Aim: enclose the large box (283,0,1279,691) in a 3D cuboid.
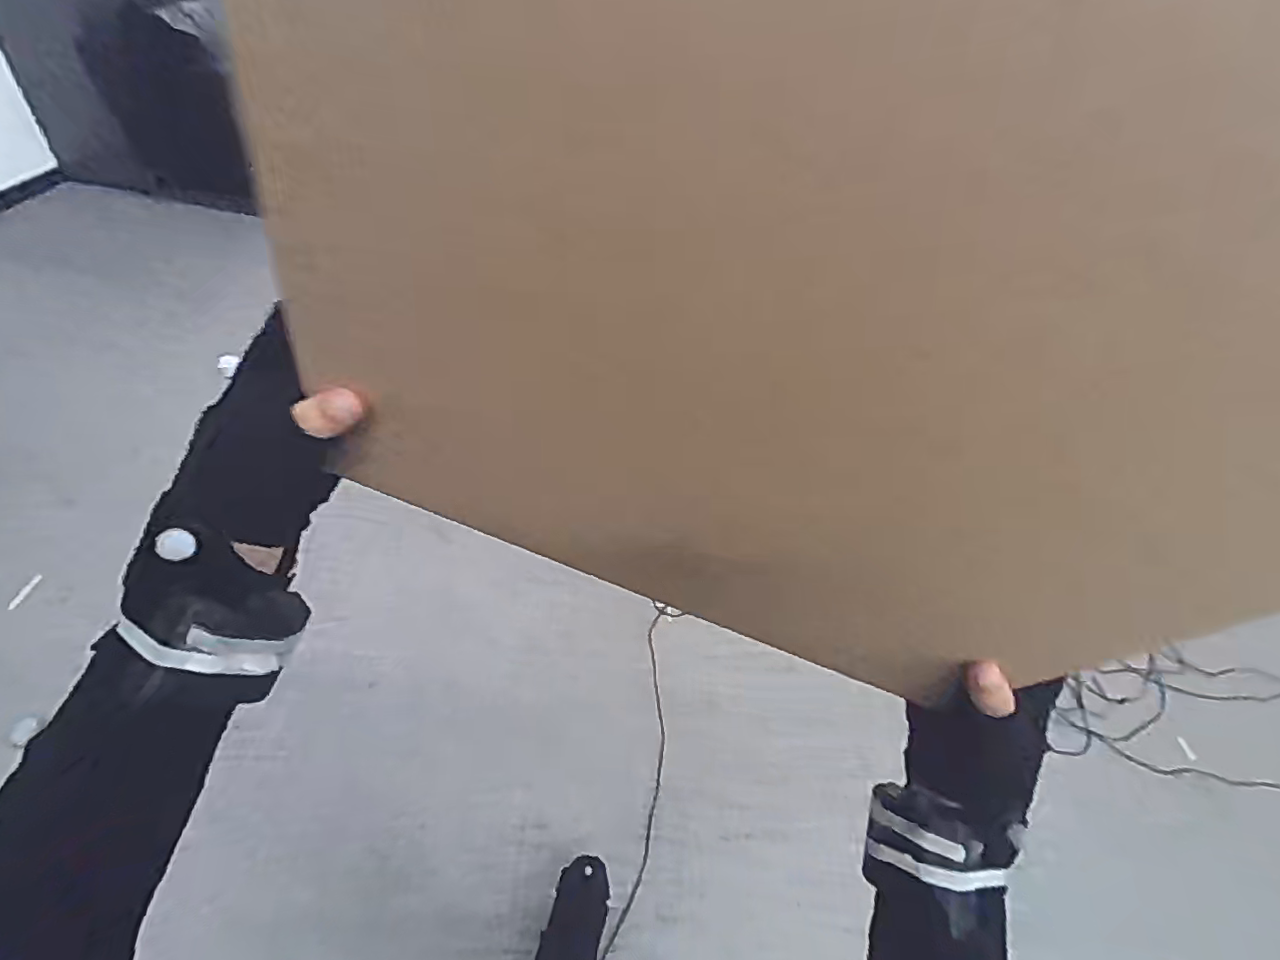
[{"bbox_3d":[0.096,-0.125,0.306,0.408,0.320,0.320,23,51,-8],"label":"large box"}]
